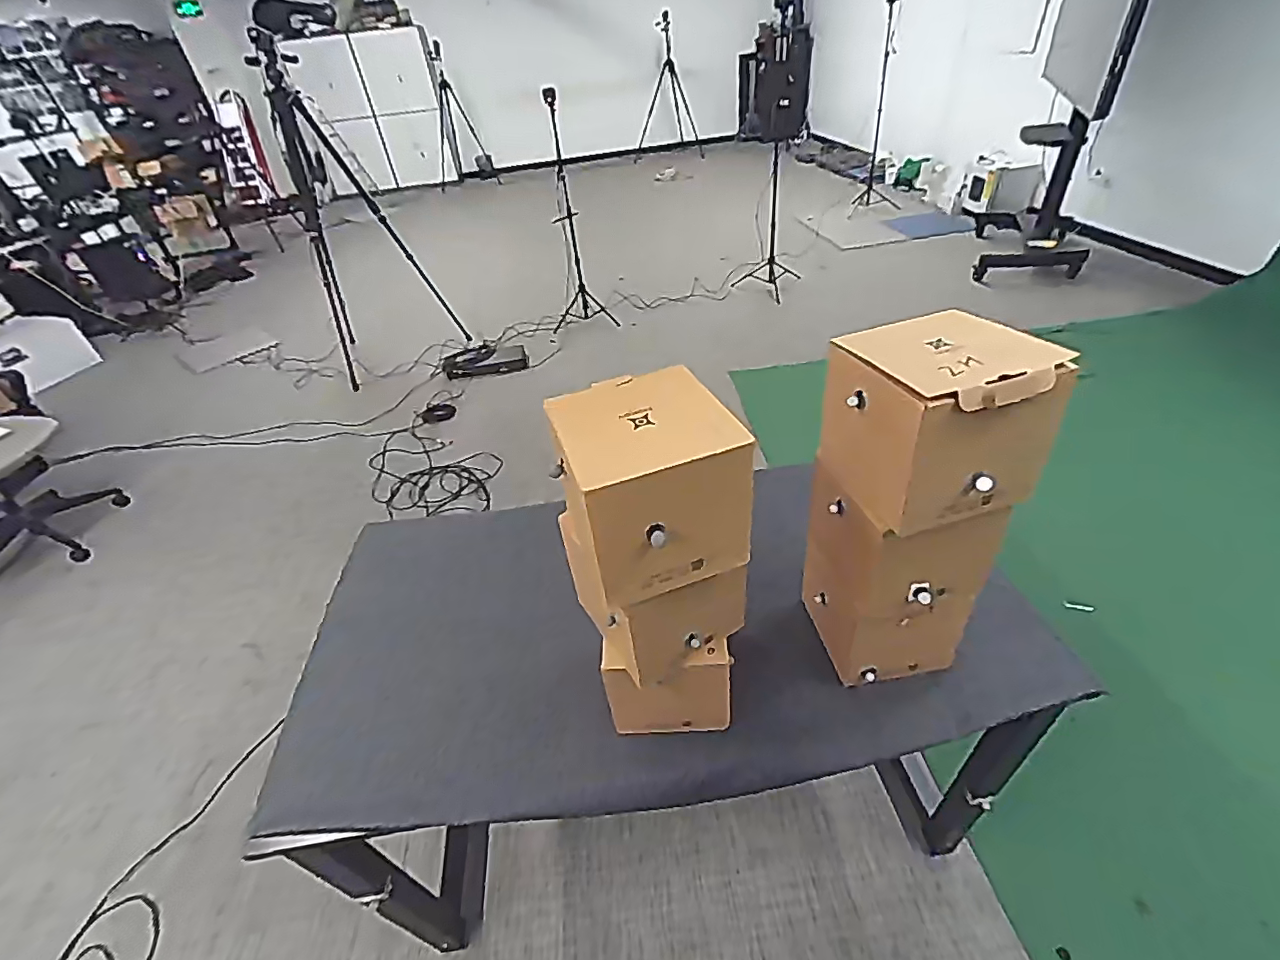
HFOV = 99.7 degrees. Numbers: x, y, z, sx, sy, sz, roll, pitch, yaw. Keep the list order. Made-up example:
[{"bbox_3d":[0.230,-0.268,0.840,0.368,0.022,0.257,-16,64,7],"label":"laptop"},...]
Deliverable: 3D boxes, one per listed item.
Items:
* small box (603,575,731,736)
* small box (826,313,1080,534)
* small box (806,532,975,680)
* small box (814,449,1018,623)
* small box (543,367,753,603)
[{"bbox_3d":[0.043,0.251,0.797,0.168,0.176,0.179,-4,37,5],"label":"small box"},{"bbox_3d":[0.329,-0.067,0.615,0.168,0.176,0.179,-15,37,-6],"label":"small box"},{"bbox_3d":[0.364,0.183,0.823,0.168,0.176,0.179,-10,36,-2],"label":"small box"},{"bbox_3d":[0.345,0.058,0.722,0.168,0.176,0.179,-13,38,-4],"label":"small box"},{"bbox_3d":[0.009,0.008,0.579,0.168,0.176,0.179,-17,39,-12],"label":"small box"}]
